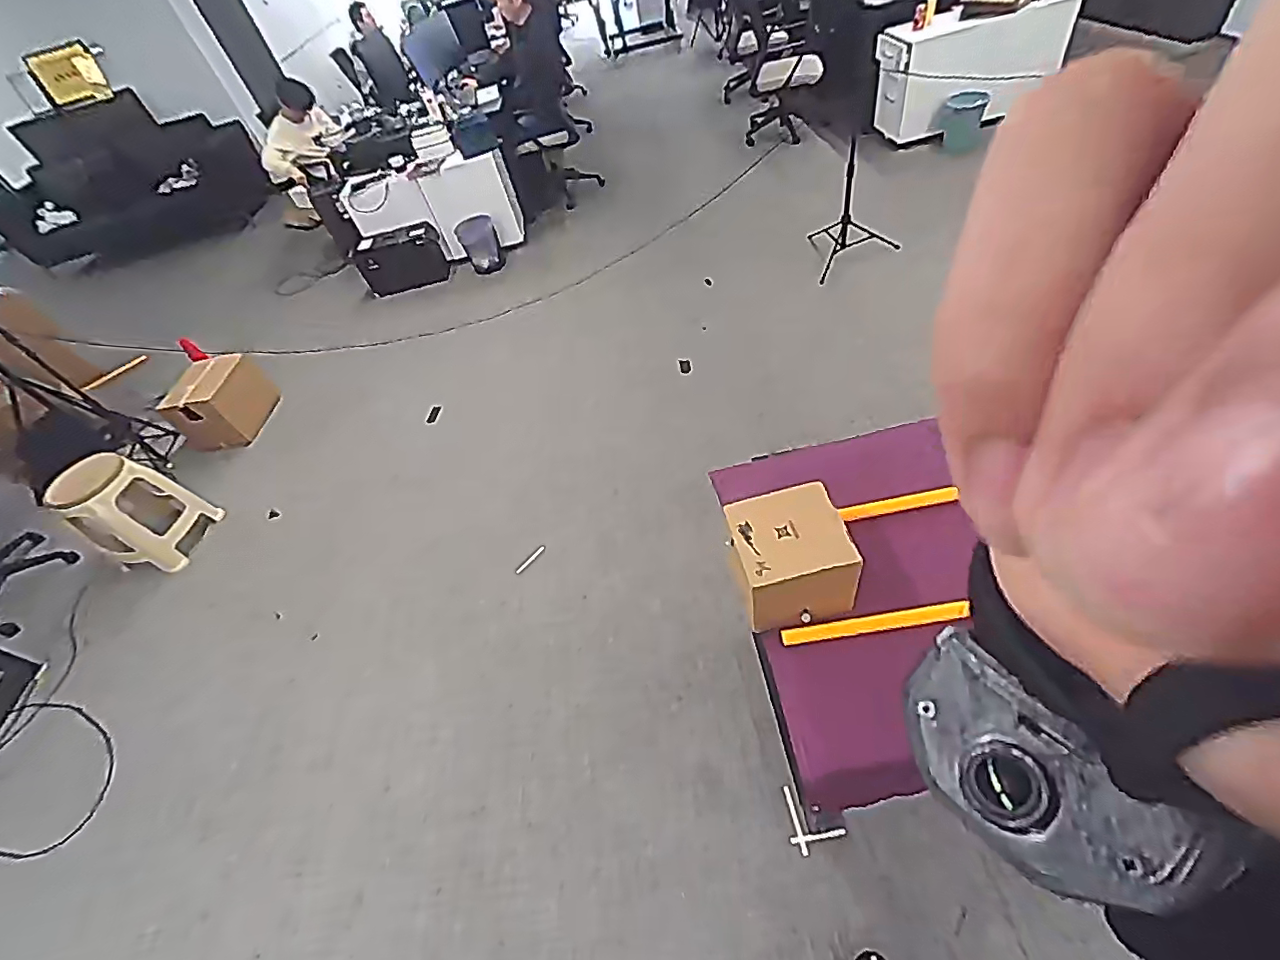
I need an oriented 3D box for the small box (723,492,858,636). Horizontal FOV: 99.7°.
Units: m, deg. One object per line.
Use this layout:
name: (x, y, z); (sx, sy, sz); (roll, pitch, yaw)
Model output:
small box: (0.251, 0.149, 0.938); (0.179, 0.176, 0.168); (-14, 49, 2)
